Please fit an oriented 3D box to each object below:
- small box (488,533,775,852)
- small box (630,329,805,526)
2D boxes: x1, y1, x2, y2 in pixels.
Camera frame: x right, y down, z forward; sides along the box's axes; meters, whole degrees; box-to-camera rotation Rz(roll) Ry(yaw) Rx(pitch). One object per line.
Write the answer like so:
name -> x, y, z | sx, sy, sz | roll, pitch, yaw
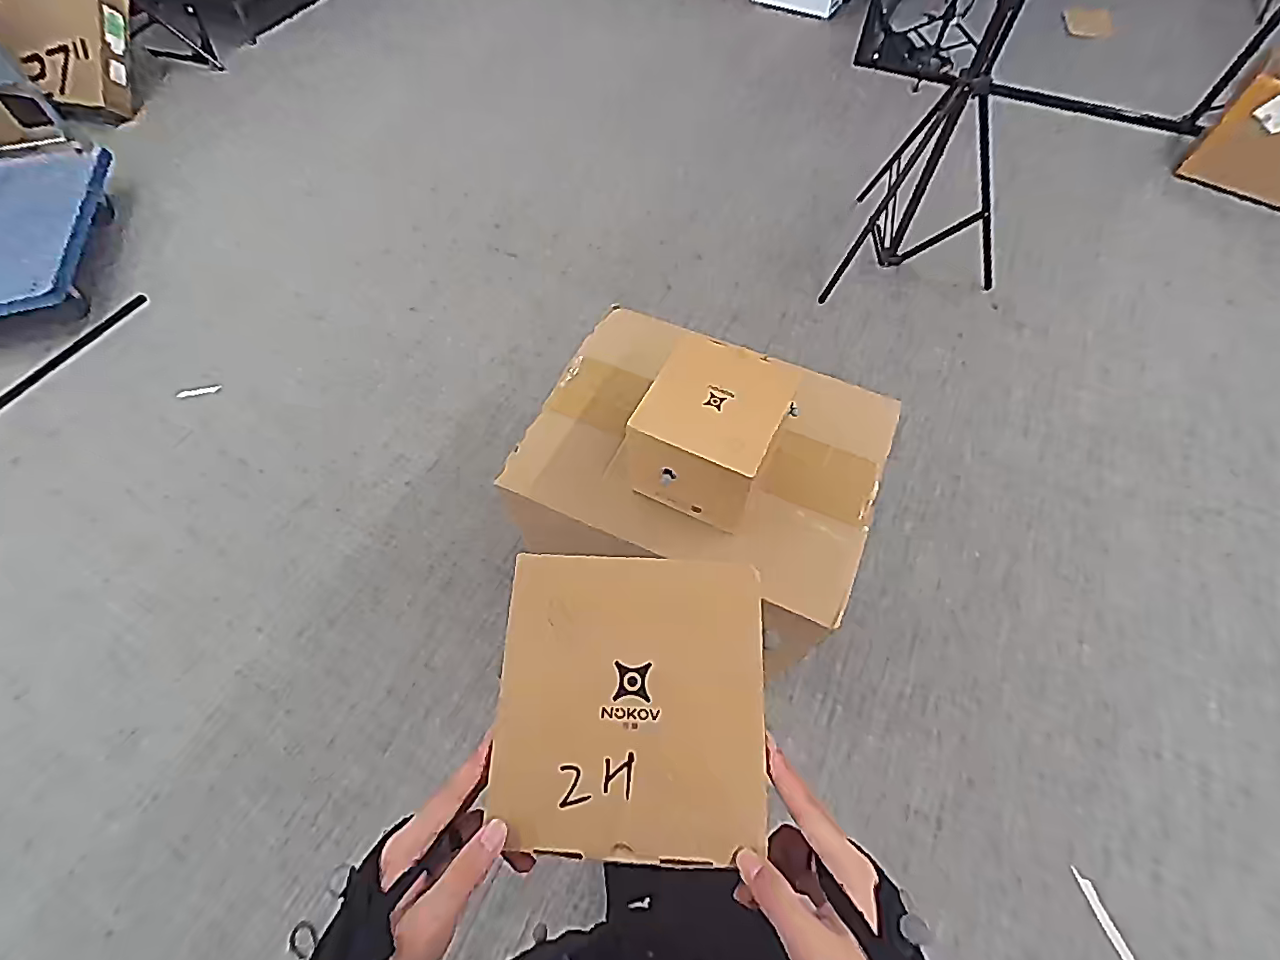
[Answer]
small box -> 0.003, 0.150, 0.407 | 0.168, 0.176, 0.179 | 2, 69, 5
small box -> 0.101, -0.065, 0.734 | 0.168, 0.176, 0.179 | 24, 63, 14
